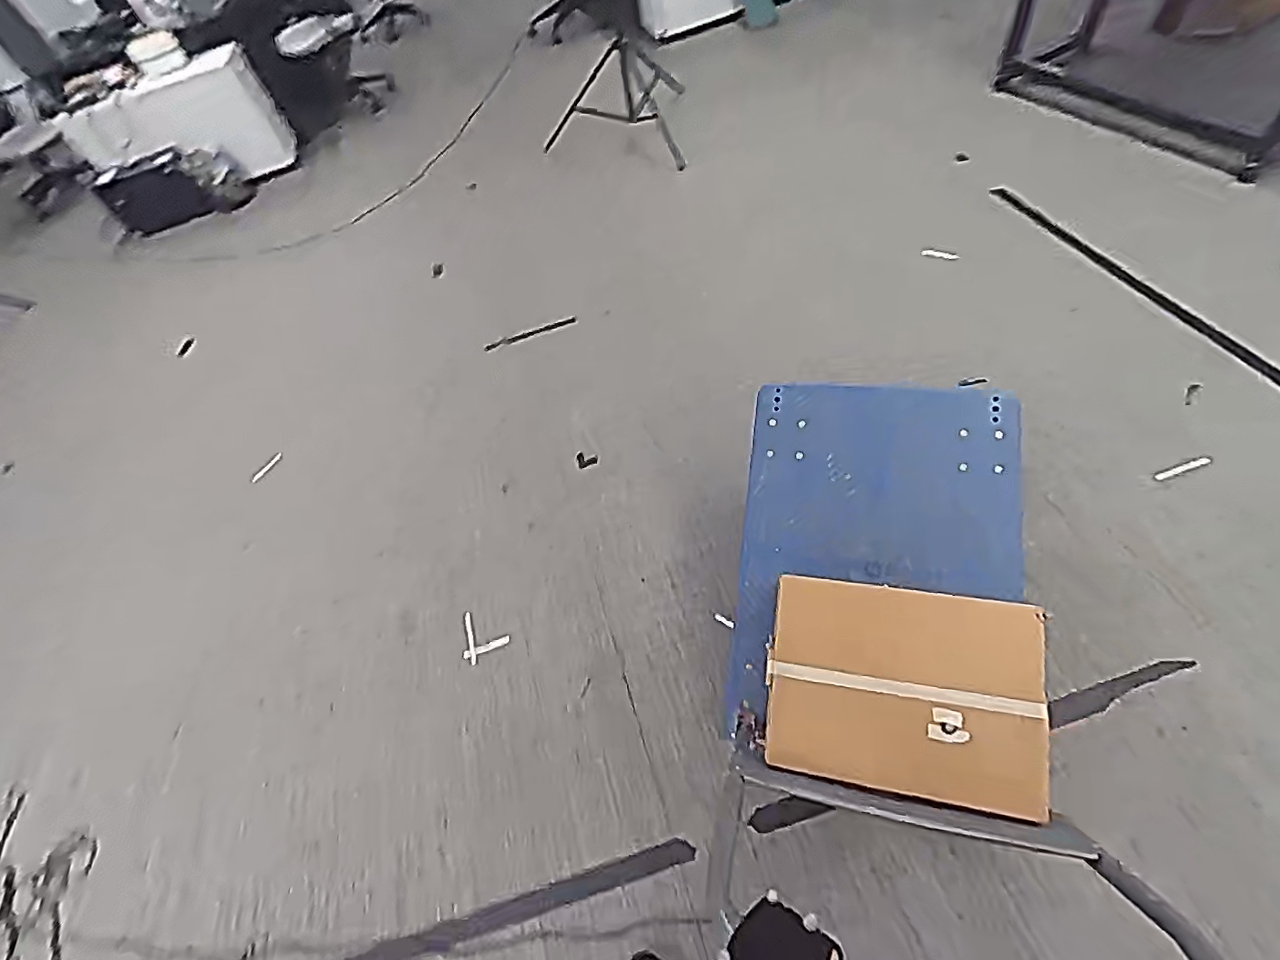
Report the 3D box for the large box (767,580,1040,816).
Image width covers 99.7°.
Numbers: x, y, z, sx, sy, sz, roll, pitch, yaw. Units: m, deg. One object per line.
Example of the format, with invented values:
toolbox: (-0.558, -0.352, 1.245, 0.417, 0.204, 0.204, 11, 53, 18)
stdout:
large box: (0.455, 0.379, 1.026, 0.408, 0.320, 0.320, 5, 77, 14)
